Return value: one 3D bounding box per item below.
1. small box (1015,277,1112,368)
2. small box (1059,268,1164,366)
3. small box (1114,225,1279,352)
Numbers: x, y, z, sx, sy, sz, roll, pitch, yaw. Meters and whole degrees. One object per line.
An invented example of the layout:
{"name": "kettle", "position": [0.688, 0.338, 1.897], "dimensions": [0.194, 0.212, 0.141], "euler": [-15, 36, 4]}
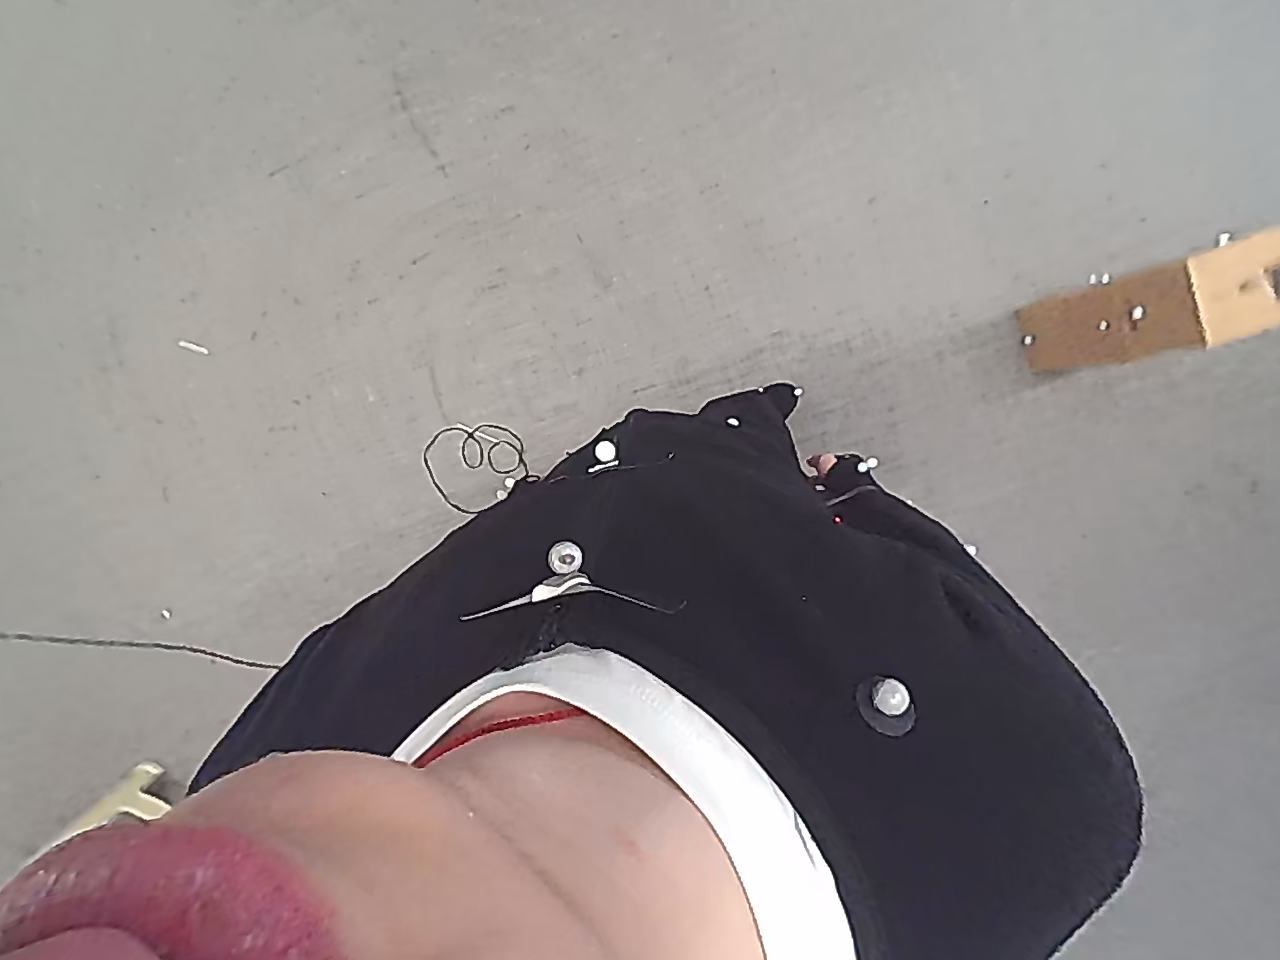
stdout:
{"name": "small box", "position": [1.087, -0.387, 1.351], "dimensions": [0.168, 0.176, 0.179], "euler": [-19, 97, 6]}
{"name": "small box", "position": [1.075, -0.364, 1.190], "dimensions": [0.168, 0.176, 0.179], "euler": [-20, 97, 6]}
{"name": "small box", "position": [1.069, -0.354, 1.026], "dimensions": [0.179, 0.176, 0.168], "euler": [-19, 95, 7]}
